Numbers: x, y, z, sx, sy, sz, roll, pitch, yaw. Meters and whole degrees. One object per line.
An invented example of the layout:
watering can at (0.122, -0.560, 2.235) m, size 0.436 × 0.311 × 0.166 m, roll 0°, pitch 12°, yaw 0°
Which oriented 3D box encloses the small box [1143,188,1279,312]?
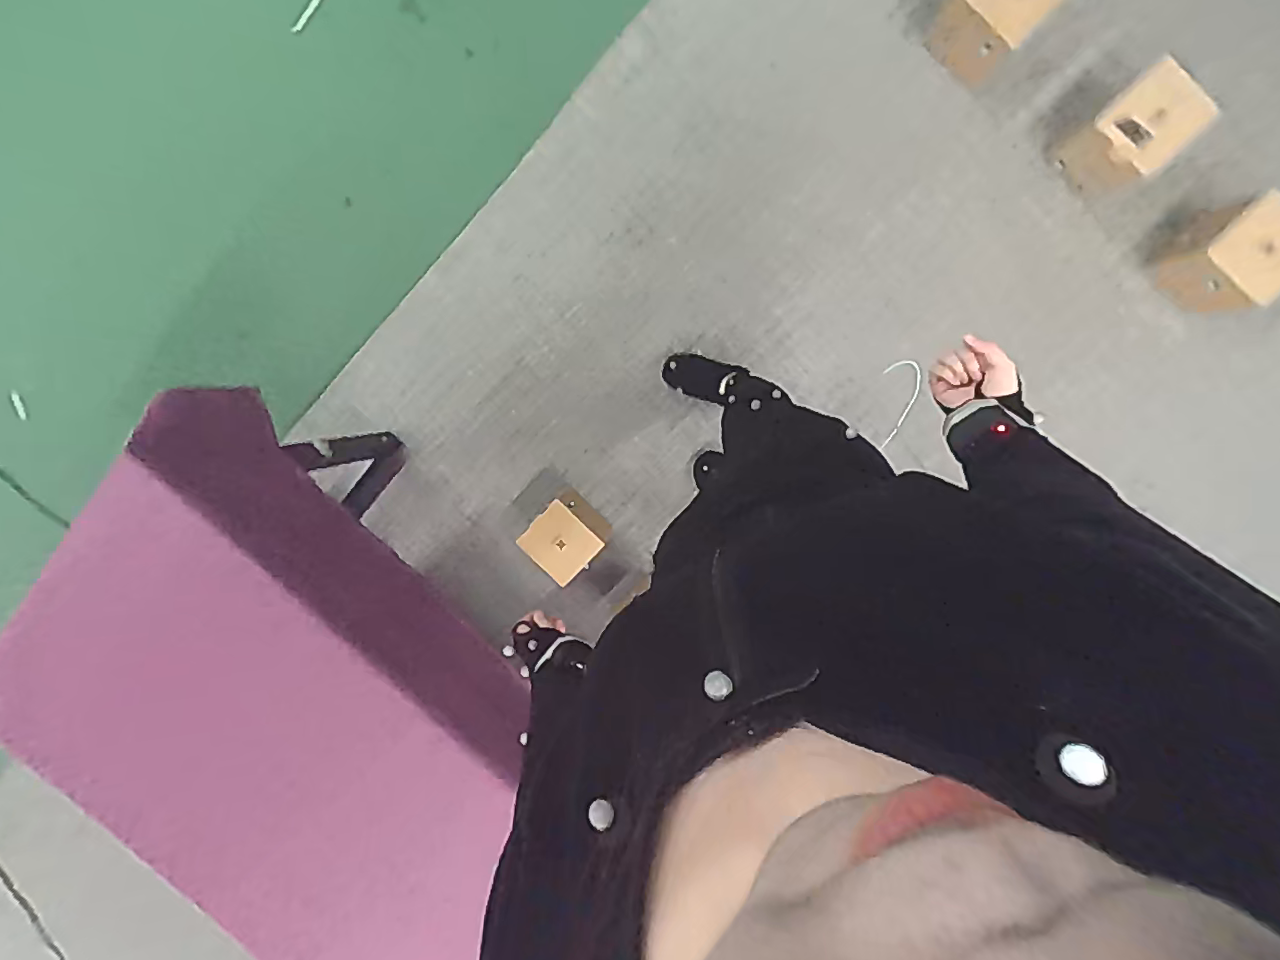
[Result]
small box at (1.291, -0.493, 1.194) m, size 0.179 × 0.176 × 0.168 m, roll 42°, pitch 102°, yaw -2°

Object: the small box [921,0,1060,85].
small box at (0.757, -1.008, 1.169) m, size 0.179 × 0.176 × 0.168 m, roll 44°, pitch 100°, yaw -2°

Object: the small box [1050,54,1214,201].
small box at (1.049, -0.750, 1.178) m, size 0.168 × 0.176 × 0.179 m, roll 45°, pitch 100°, yaw -2°
